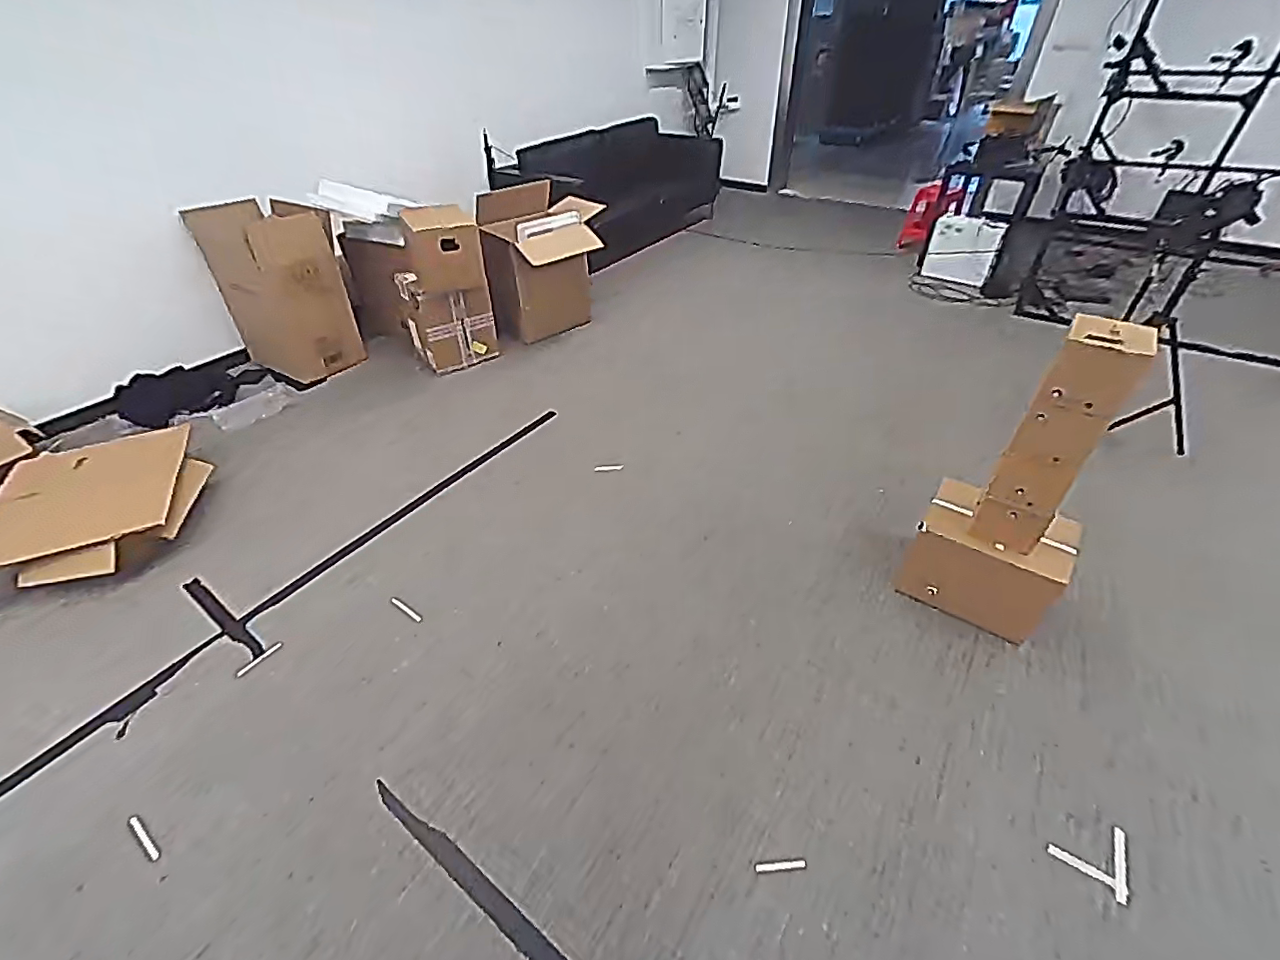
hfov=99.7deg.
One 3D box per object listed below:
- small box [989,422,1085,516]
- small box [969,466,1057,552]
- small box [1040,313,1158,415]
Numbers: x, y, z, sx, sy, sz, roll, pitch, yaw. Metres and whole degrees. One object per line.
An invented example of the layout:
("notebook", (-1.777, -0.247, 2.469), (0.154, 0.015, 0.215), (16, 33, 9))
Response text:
("small box", (1.117, -0.033, 1.529), (0.168, 0.176, 0.179), (23, 48, 27))
("small box", (1.129, 0.088, 1.637), (0.179, 0.176, 0.168), (23, 47, 25))
("small box", (1.107, -0.280, 1.313), (0.168, 0.176, 0.179), (25, 47, 28))
